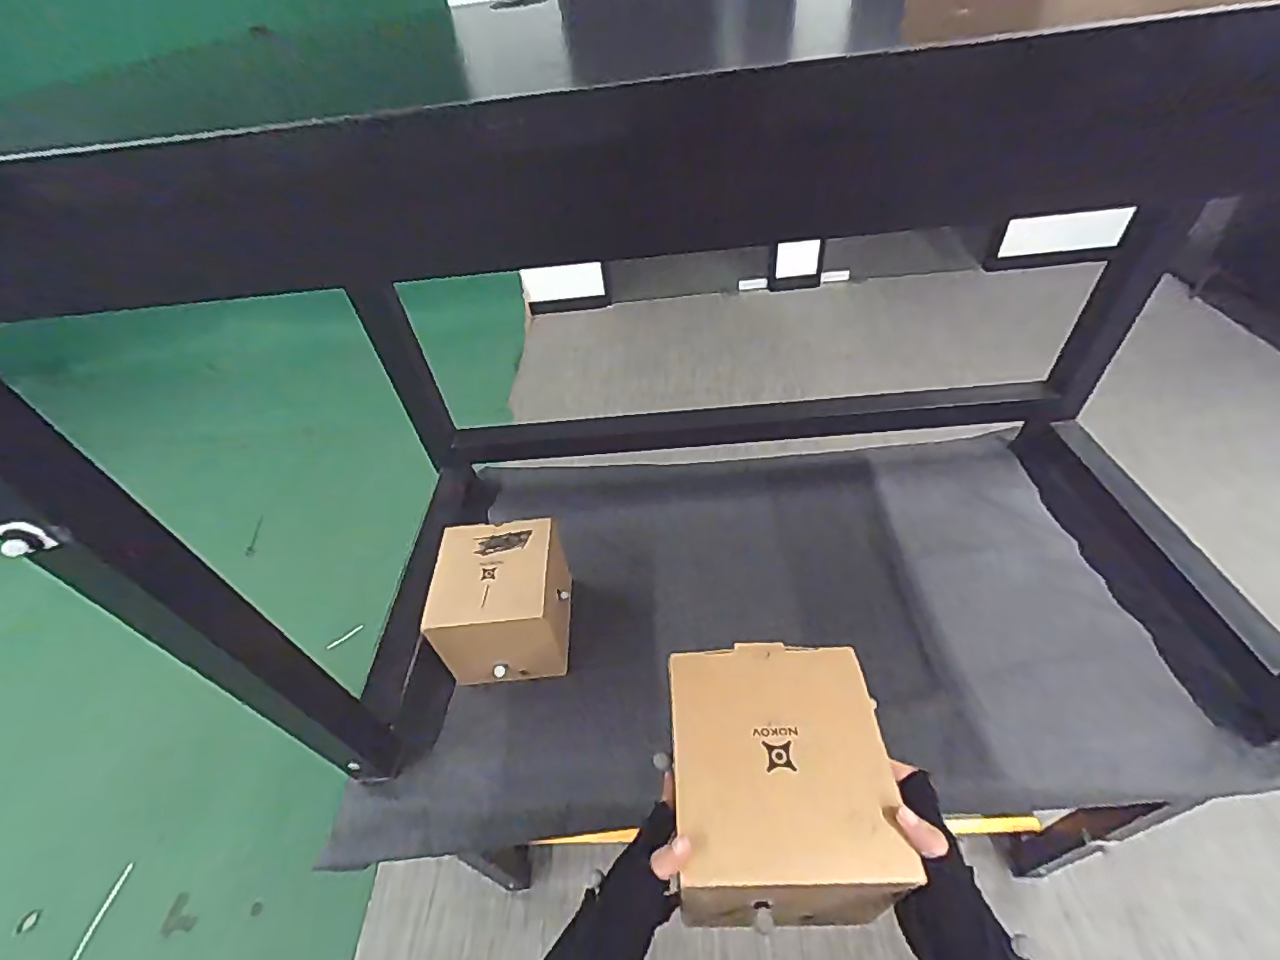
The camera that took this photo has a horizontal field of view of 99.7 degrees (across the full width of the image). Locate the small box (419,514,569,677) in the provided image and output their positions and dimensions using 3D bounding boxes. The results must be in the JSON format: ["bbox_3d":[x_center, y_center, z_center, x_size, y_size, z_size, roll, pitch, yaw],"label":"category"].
[{"bbox_3d":[-0.206,0.175,0.819,0.168,0.176,0.179,-6,45,2],"label":"small box"}]

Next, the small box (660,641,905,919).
[{"bbox_3d":[0.105,0.265,0.476,0.168,0.176,0.179,-3,42,3],"label":"small box"}]
